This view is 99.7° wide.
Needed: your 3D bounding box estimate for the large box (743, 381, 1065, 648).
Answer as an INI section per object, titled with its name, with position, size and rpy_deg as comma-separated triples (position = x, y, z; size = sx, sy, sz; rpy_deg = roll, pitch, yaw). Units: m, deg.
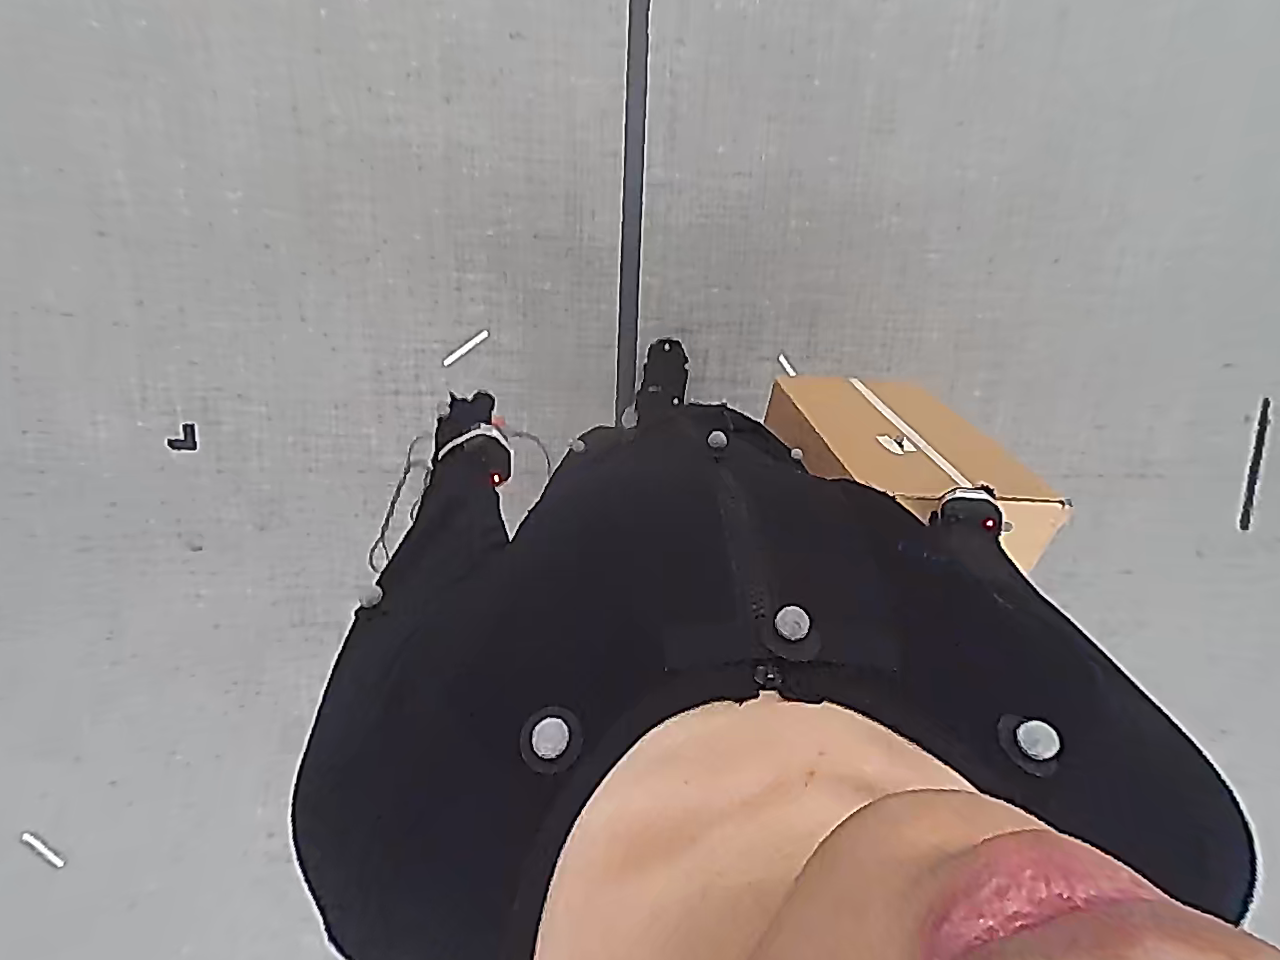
[large box]
position = 0.418, 0.048, 0.990
size = 0.320, 0.408, 0.320
rpy_deg = 2, 123, -9
